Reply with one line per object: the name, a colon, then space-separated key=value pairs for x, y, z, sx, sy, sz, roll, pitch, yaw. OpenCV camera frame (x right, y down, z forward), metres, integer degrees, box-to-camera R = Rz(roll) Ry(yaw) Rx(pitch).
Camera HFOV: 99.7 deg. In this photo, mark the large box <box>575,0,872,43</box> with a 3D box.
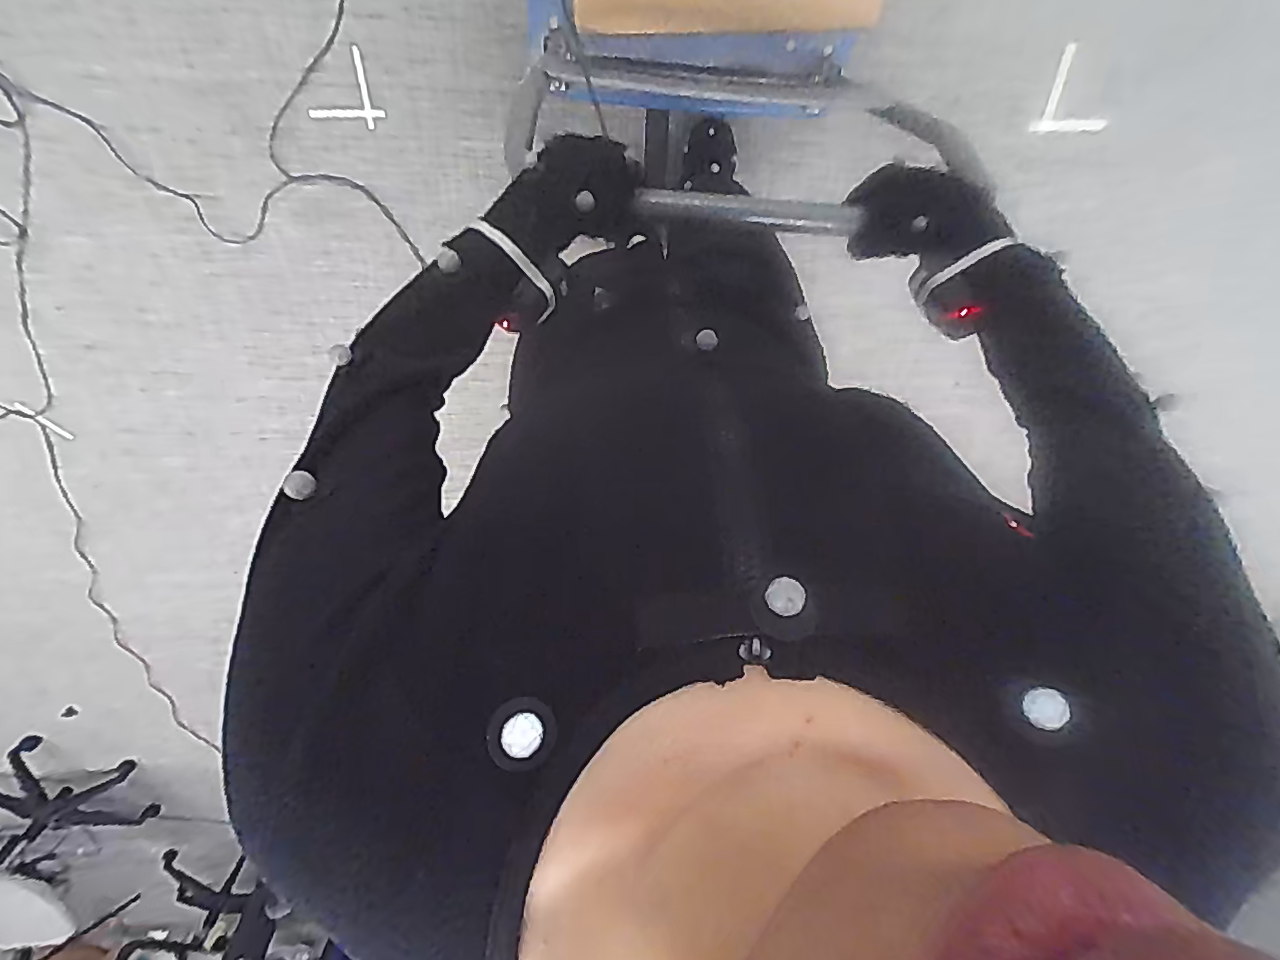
large box: x=0.098 y=-0.819 z=0.754 sx=0.408 sy=0.320 sz=0.320 roll=-3 pitch=130 yaw=-2
